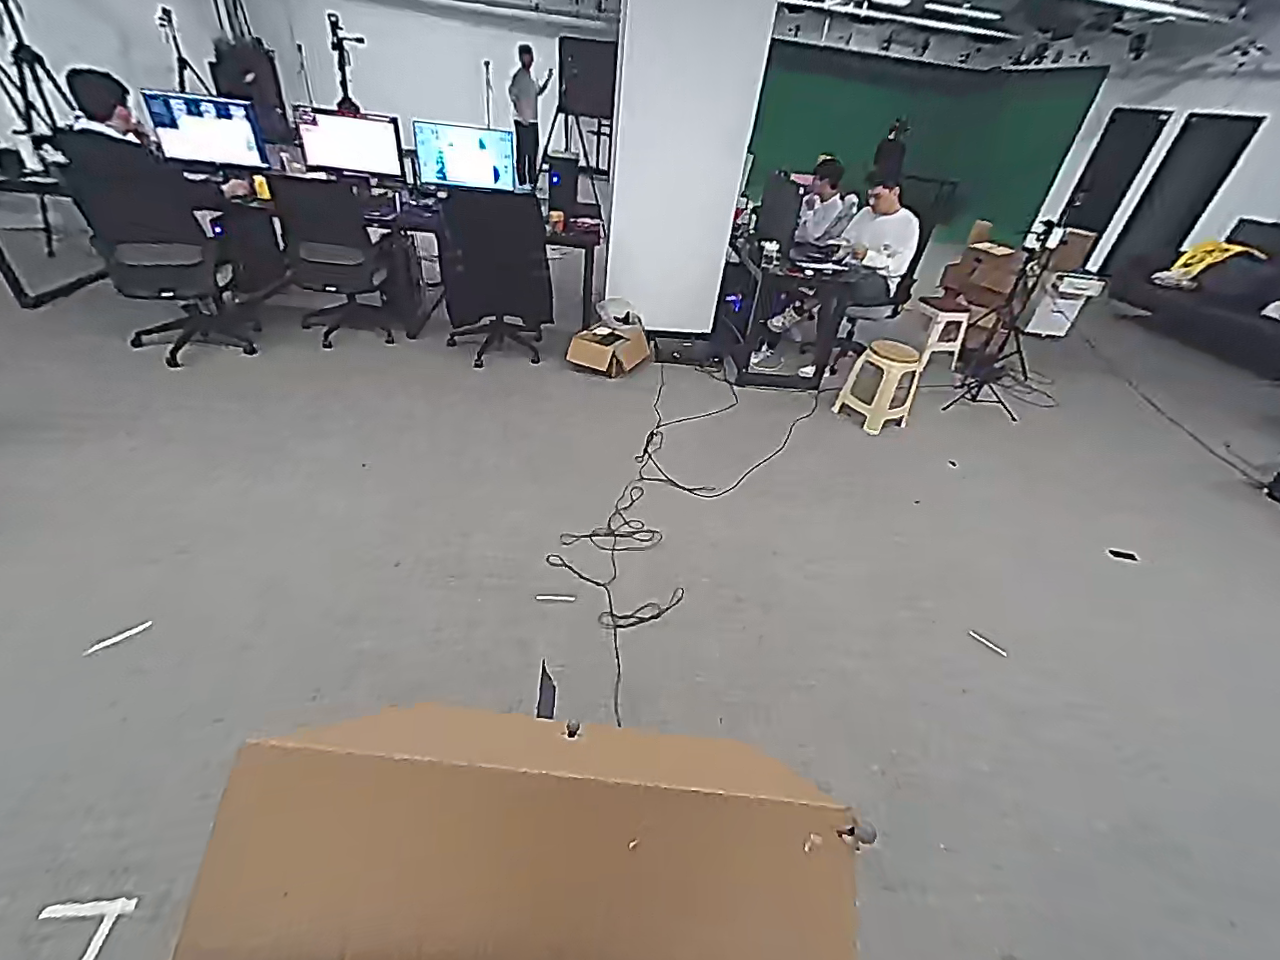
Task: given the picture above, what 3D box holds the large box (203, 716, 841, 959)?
[{"bbox_3d":[-0.080,0.392,0.462,0.408,0.320,0.320,5,72,1],"label":"large box"}]
